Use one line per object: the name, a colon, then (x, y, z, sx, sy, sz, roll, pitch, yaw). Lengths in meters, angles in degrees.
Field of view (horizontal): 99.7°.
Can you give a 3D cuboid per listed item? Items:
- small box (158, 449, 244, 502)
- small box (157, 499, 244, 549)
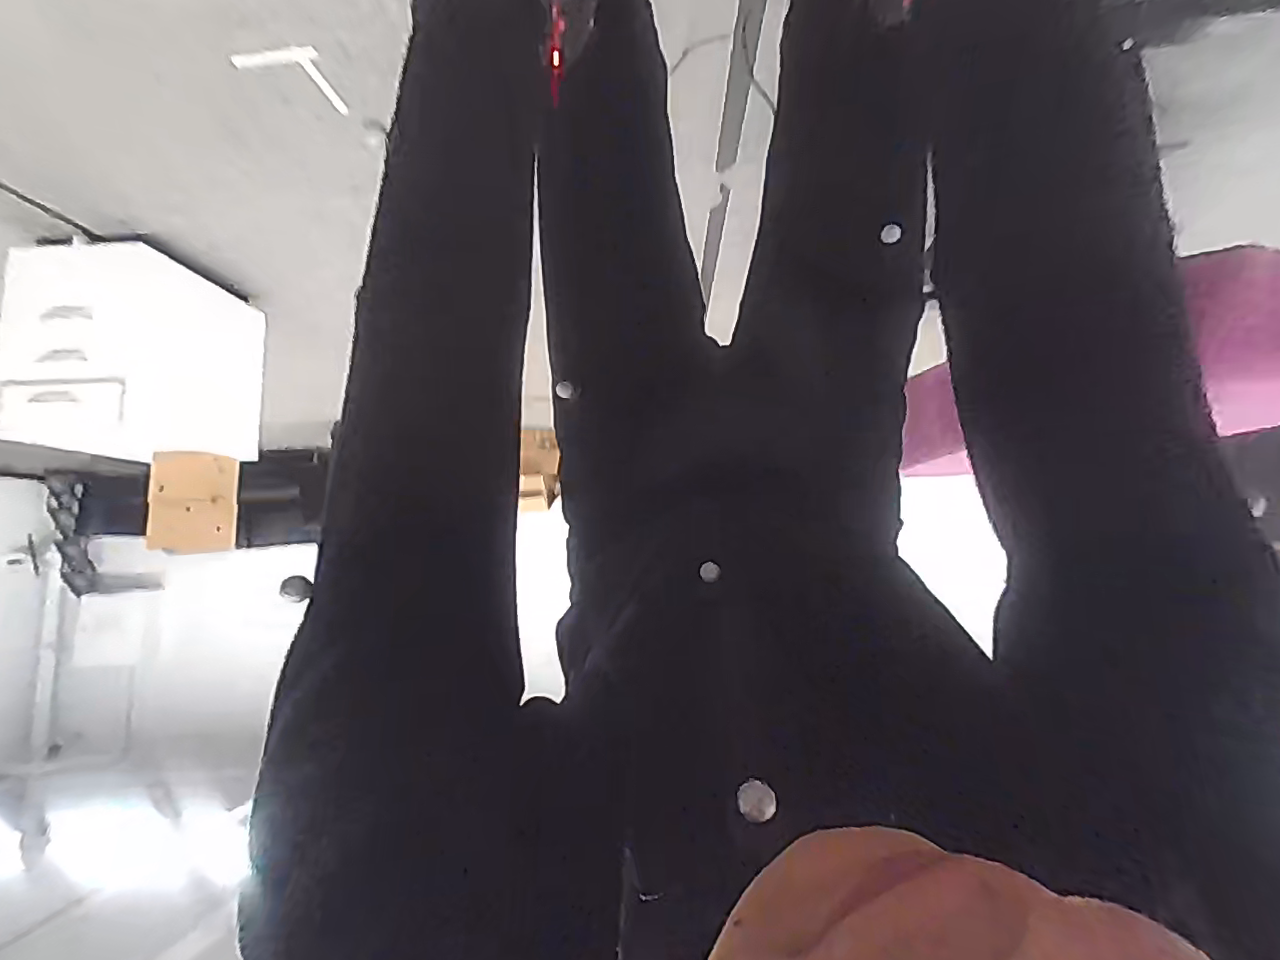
small box: (-1.531, -0.011, 1.898, 0.179, 0.176, 0.168, -1, 173, 3)
small box: (-1.522, 0.153, 1.880, 0.168, 0.176, 0.179, -1, 174, 3)
